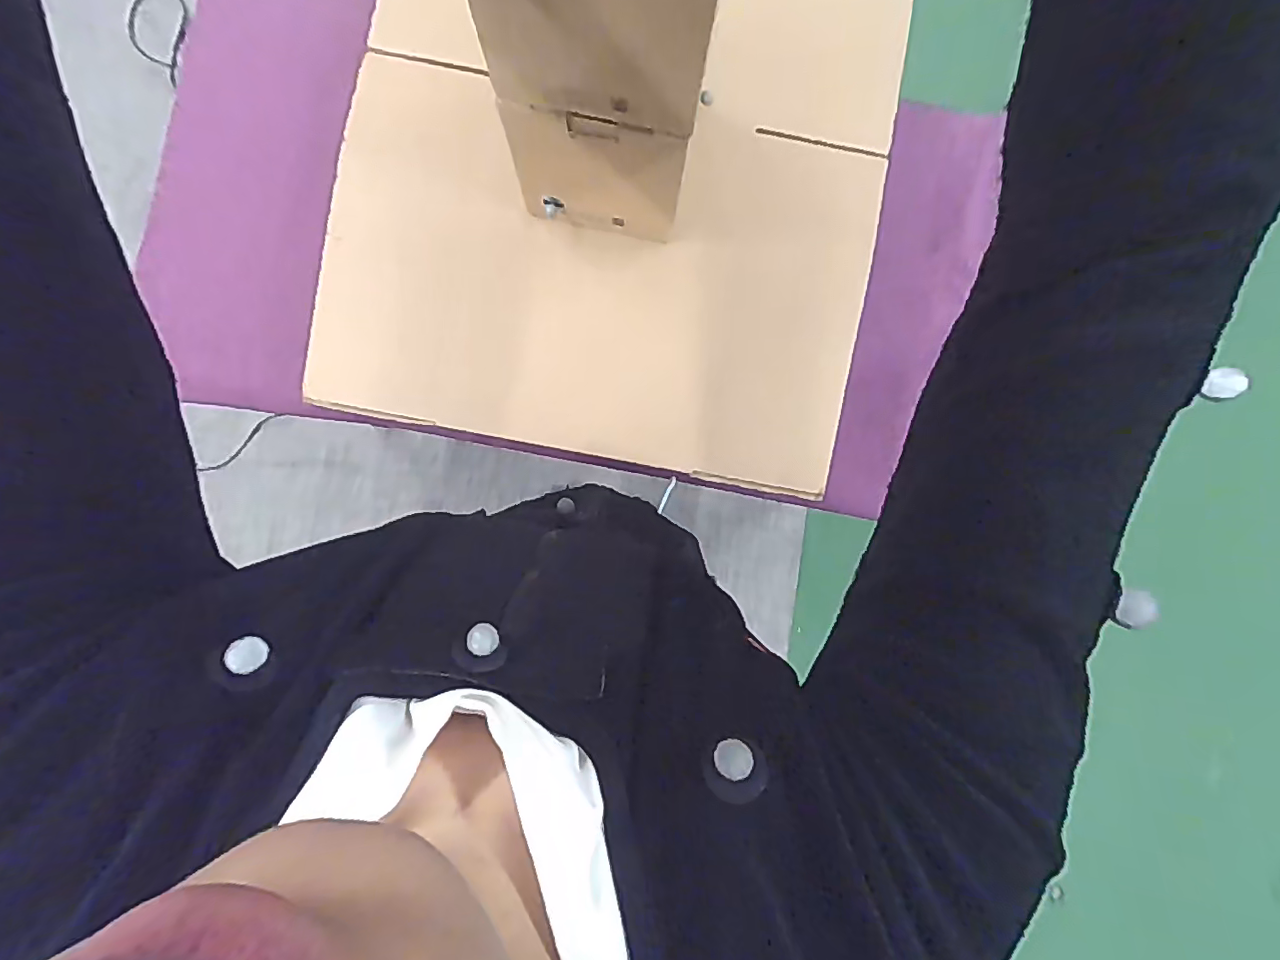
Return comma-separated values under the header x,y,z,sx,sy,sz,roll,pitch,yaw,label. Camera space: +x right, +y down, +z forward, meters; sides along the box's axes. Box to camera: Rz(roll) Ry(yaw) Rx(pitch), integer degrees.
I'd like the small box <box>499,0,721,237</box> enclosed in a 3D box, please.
x,y,z,sx,sy,sz,roll,pitch,yaw,label
-0.023,-0.372,0.532,0.168,0.176,0.179,12,85,-1,small box
